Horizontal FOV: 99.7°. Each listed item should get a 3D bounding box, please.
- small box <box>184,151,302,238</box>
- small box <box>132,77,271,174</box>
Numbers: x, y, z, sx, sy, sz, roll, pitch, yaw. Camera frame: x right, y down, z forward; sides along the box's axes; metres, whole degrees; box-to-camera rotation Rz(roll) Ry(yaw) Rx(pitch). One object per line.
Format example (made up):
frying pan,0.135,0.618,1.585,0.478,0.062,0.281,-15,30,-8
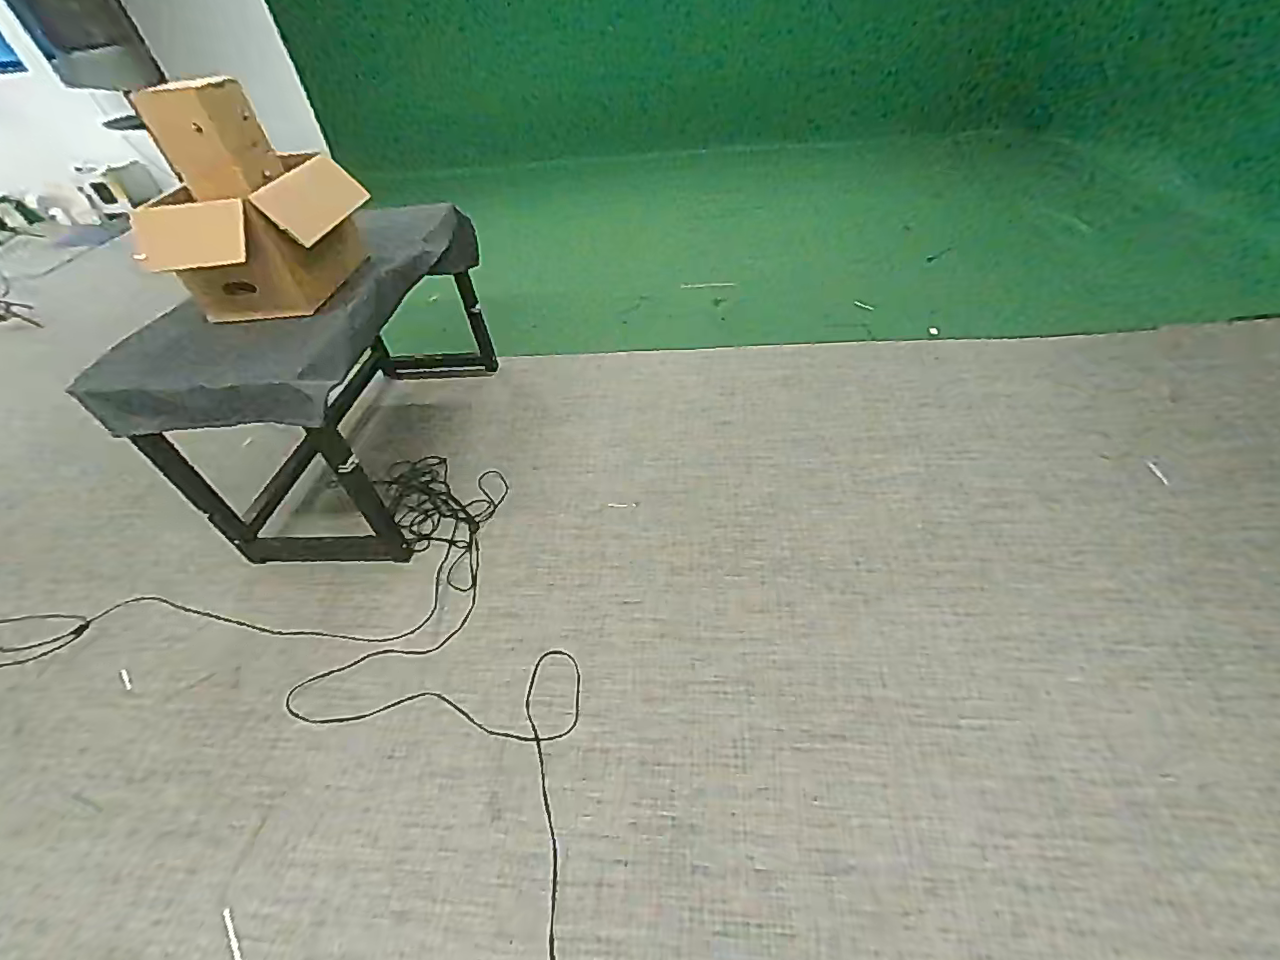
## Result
small box,-1.068,-0.779,1.478,0.168,0.176,0.179,-2,44,6
small box,-1.092,-0.894,1.366,0.179,0.176,0.168,-2,44,8
